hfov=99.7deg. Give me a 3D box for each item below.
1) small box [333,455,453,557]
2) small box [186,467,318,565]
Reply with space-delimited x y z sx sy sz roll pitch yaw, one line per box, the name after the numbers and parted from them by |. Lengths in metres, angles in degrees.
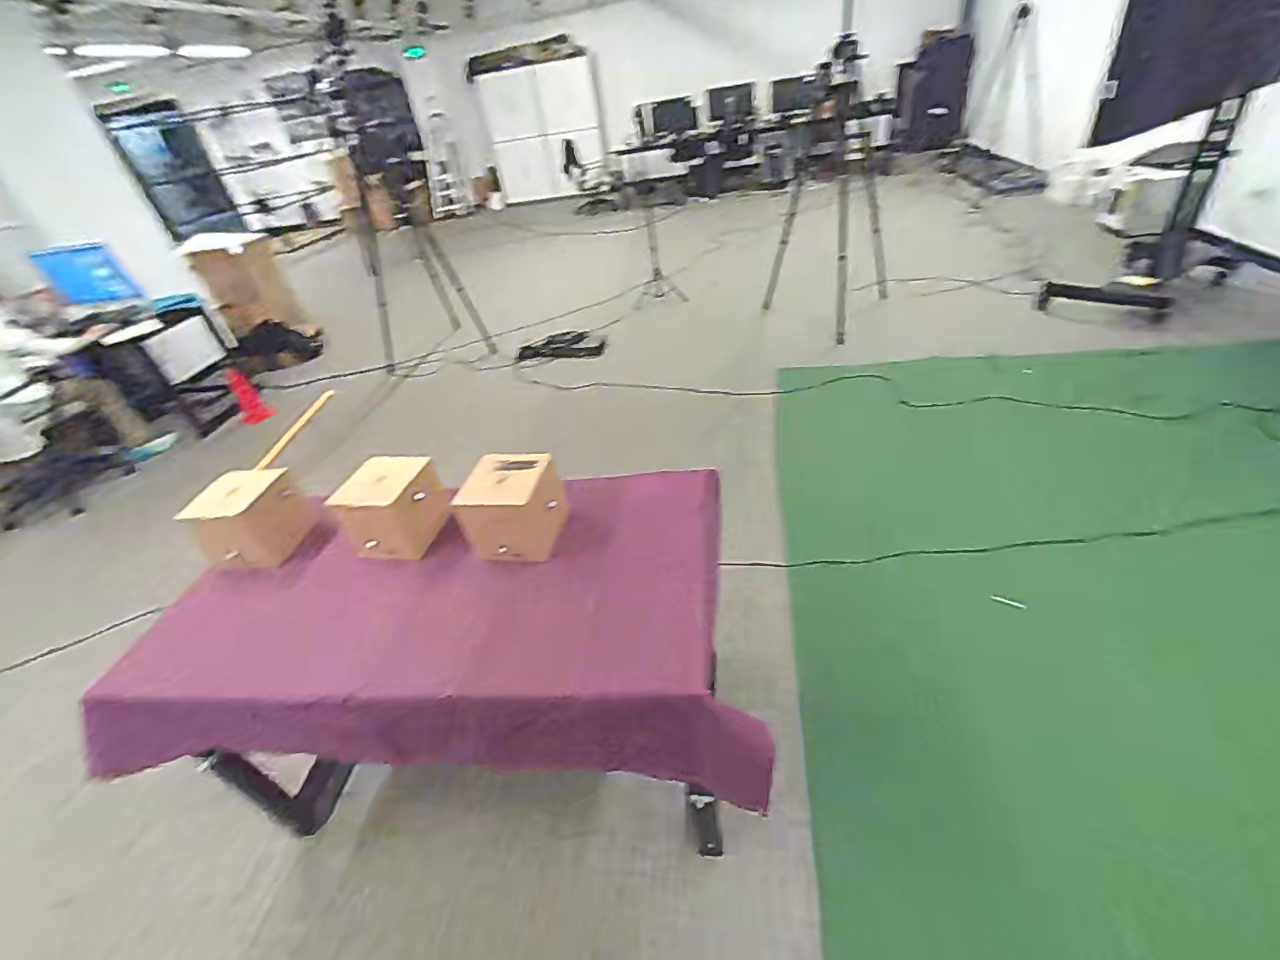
-0.567 0.058 1.275 0.168 0.176 0.179 1 39 16 | small box
-0.931 0.088 1.322 0.168 0.176 0.179 -3 38 10 | small box
